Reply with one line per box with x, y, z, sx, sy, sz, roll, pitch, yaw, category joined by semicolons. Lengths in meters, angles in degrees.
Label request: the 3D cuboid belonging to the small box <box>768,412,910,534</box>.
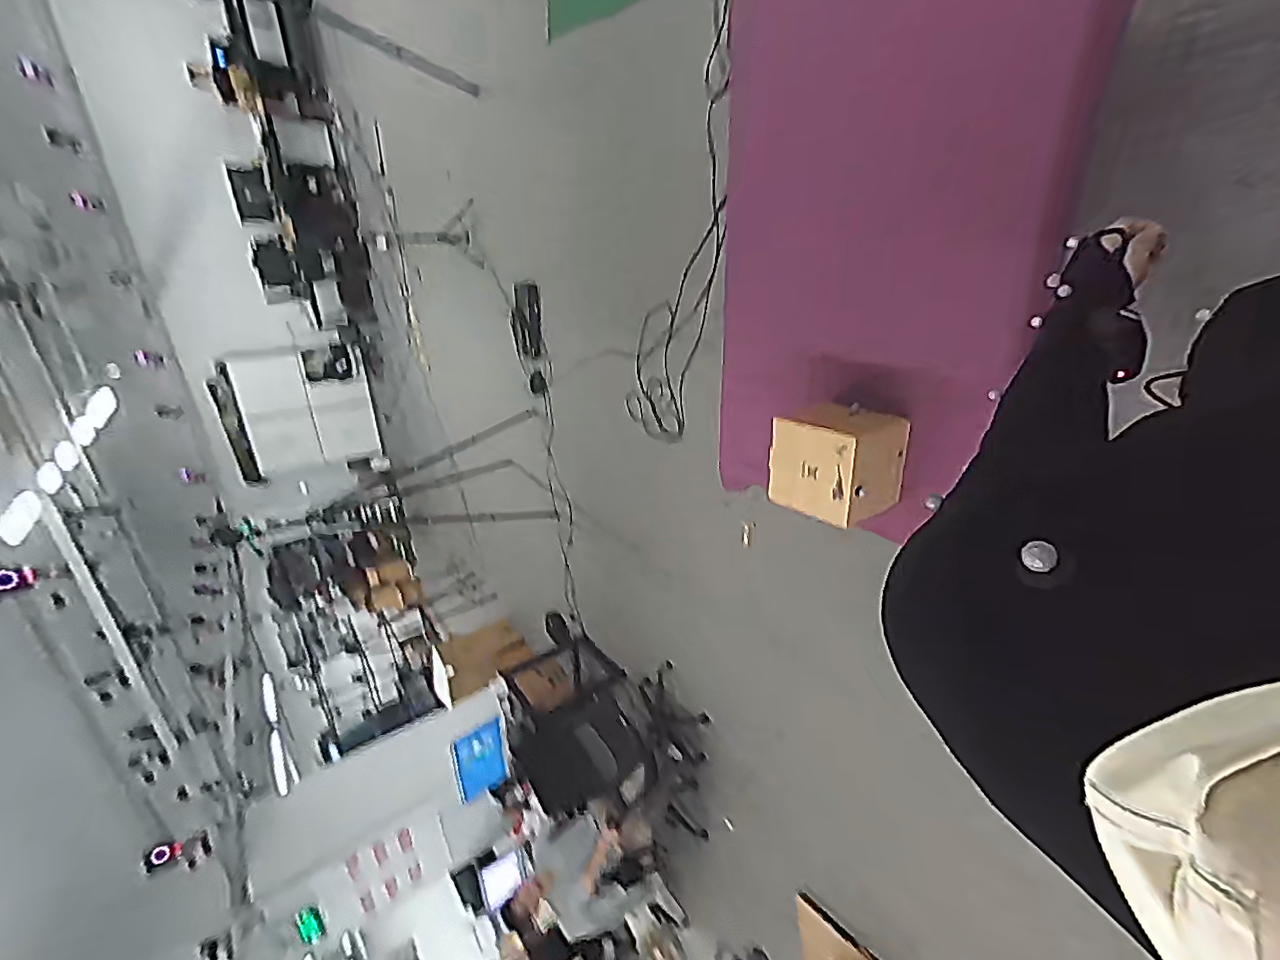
0.362;-0.024;1.000;0.179;0.176;0.168;25;124;50;small box
